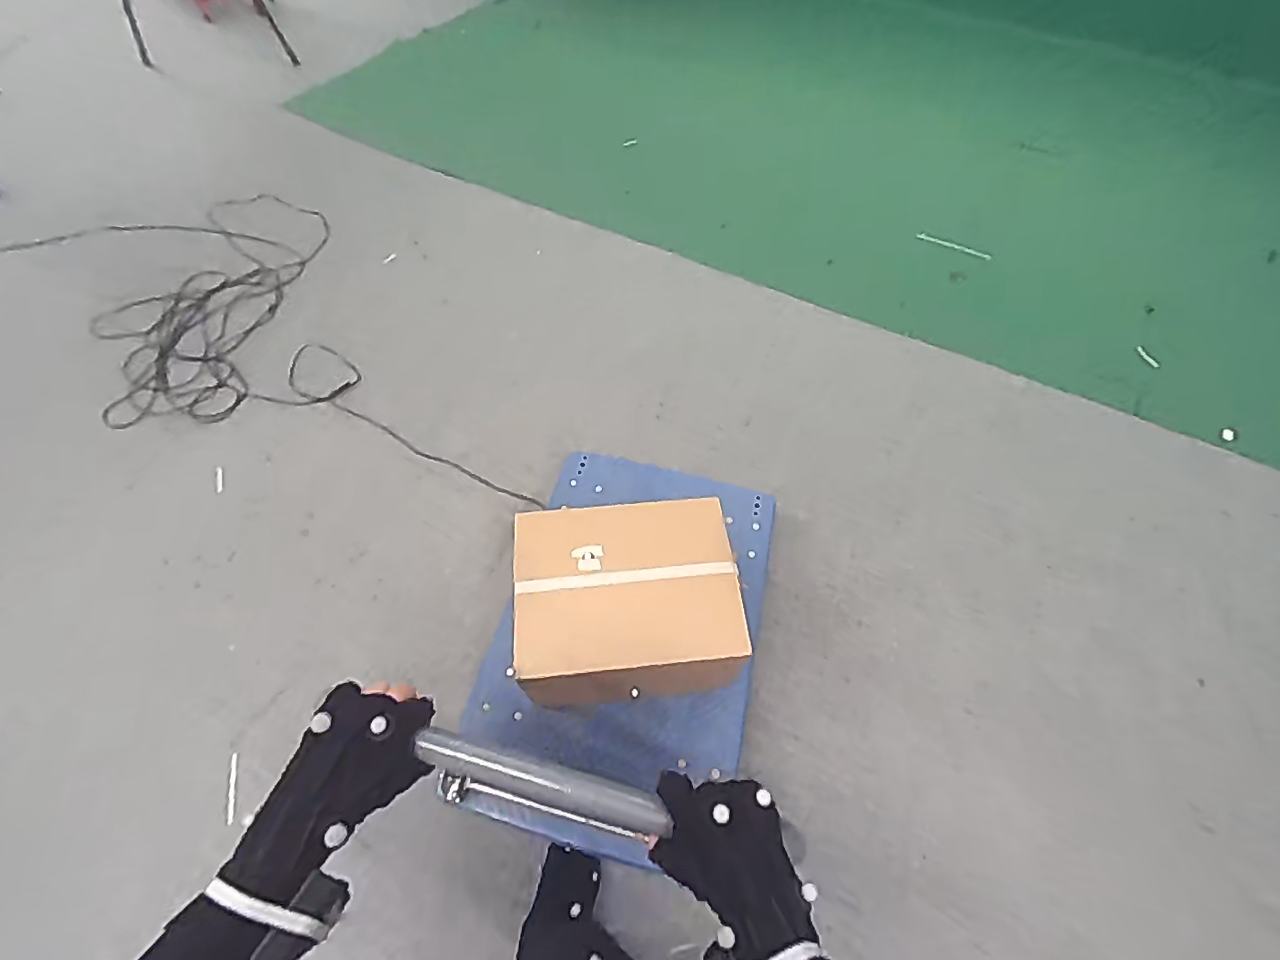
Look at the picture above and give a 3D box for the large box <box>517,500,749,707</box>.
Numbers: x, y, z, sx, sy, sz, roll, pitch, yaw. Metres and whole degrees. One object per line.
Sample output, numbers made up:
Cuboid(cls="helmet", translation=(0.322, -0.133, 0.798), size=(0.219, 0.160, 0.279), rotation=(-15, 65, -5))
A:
Cuboid(cls="large box", translation=(-0.025, 0.265, 1.120), size=(0.408, 0.320, 0.320), rotation=(-5, 58, -4))
